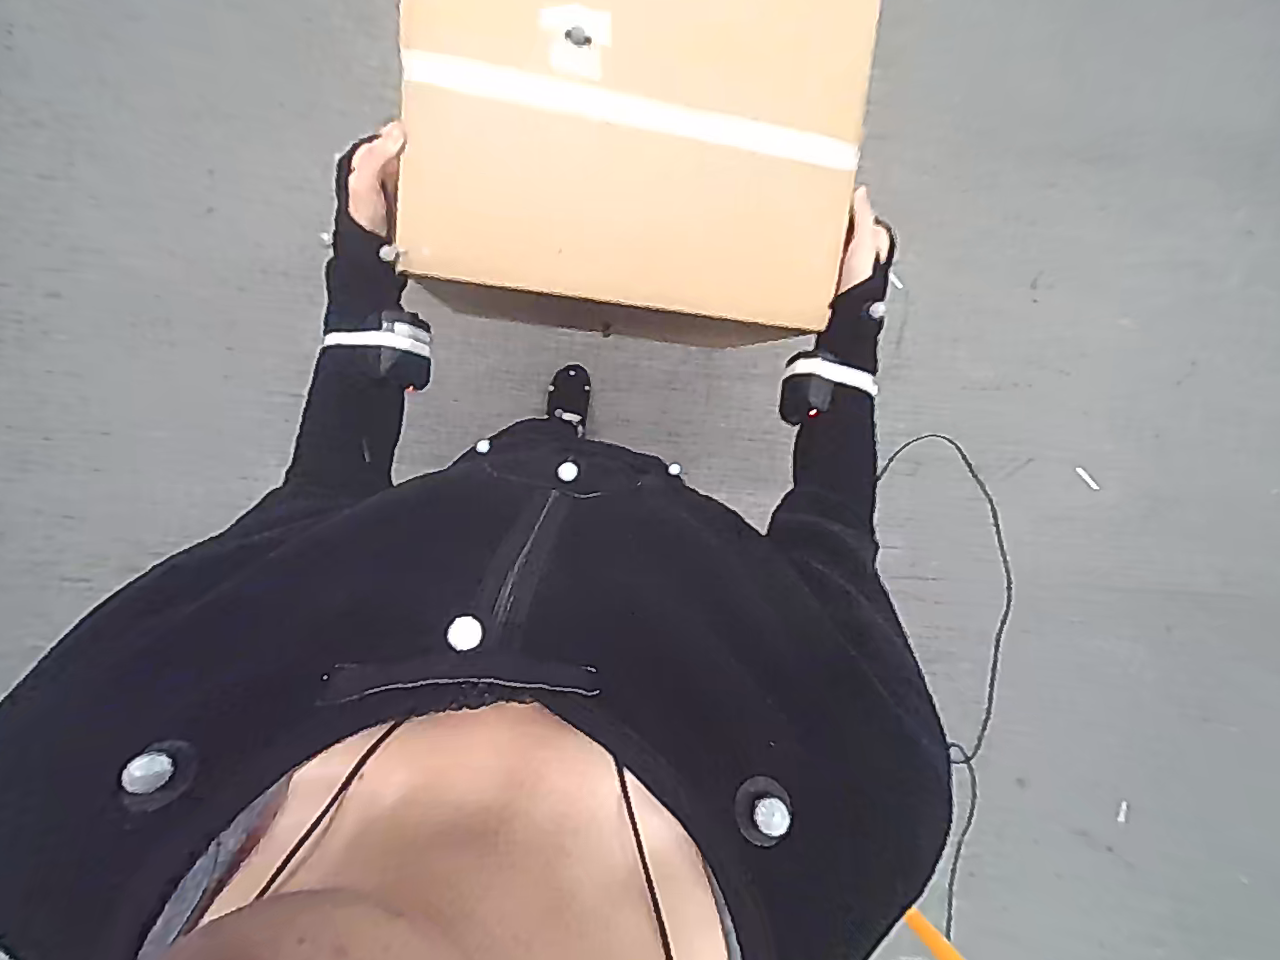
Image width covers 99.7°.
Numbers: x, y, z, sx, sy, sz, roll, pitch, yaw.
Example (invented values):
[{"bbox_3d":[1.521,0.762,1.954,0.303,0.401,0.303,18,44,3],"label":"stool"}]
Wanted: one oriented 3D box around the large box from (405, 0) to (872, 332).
[{"bbox_3d":[-0.019,-0.354,0.625,0.408,0.320,0.320,5,100,-11],"label":"large box"}]
